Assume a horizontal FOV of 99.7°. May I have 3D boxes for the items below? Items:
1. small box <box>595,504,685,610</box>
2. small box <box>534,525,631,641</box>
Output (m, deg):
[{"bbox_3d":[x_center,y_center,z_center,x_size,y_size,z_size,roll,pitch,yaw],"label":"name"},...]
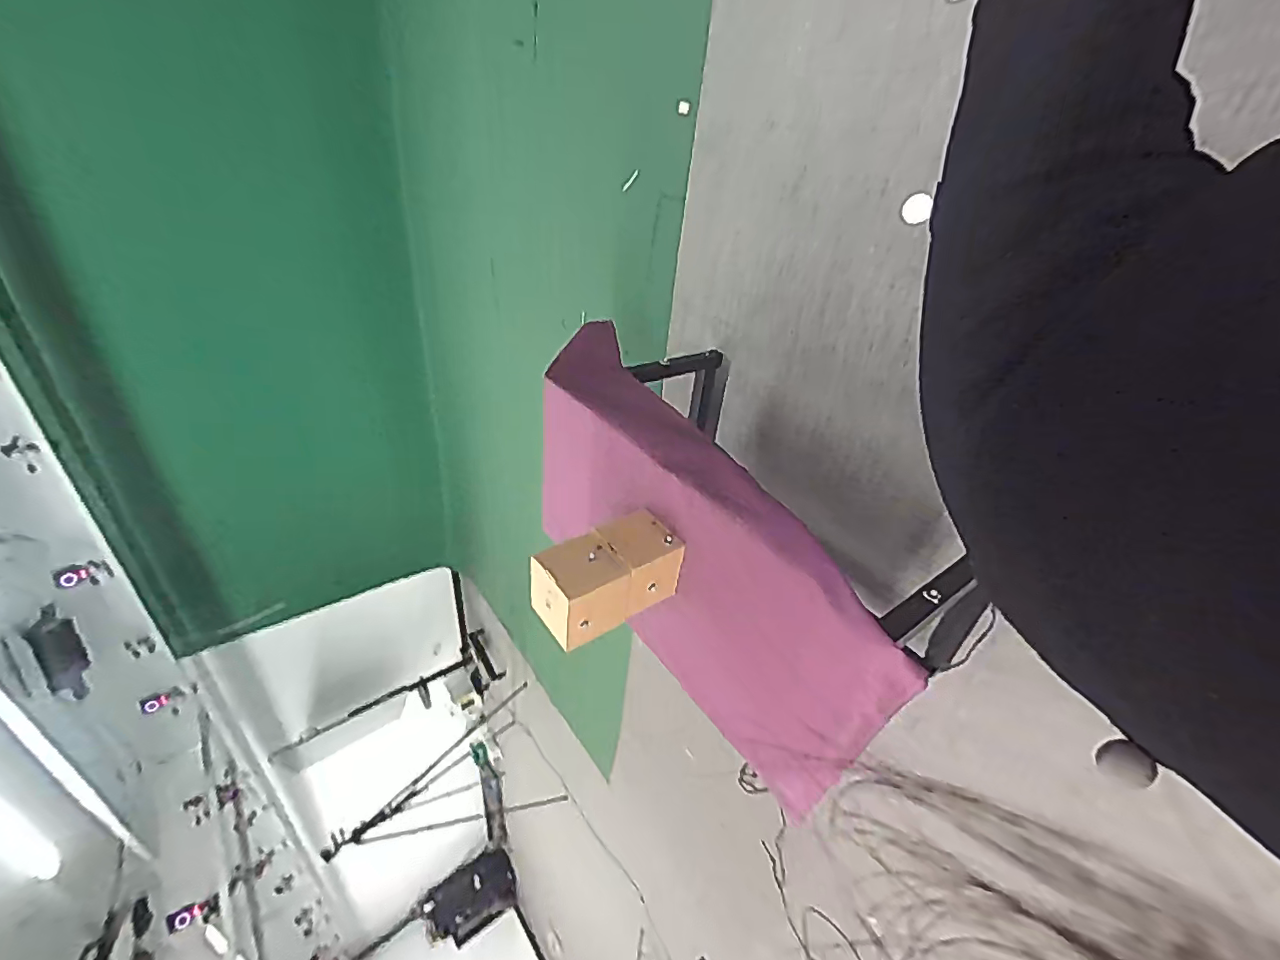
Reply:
[{"bbox_3d":[-0.007,0.185,1.363,0.168,0.176,0.179,42,137,37],"label":"small box"},{"bbox_3d":[-0.137,0.237,1.277,0.168,0.176,0.179,41,136,37],"label":"small box"}]
